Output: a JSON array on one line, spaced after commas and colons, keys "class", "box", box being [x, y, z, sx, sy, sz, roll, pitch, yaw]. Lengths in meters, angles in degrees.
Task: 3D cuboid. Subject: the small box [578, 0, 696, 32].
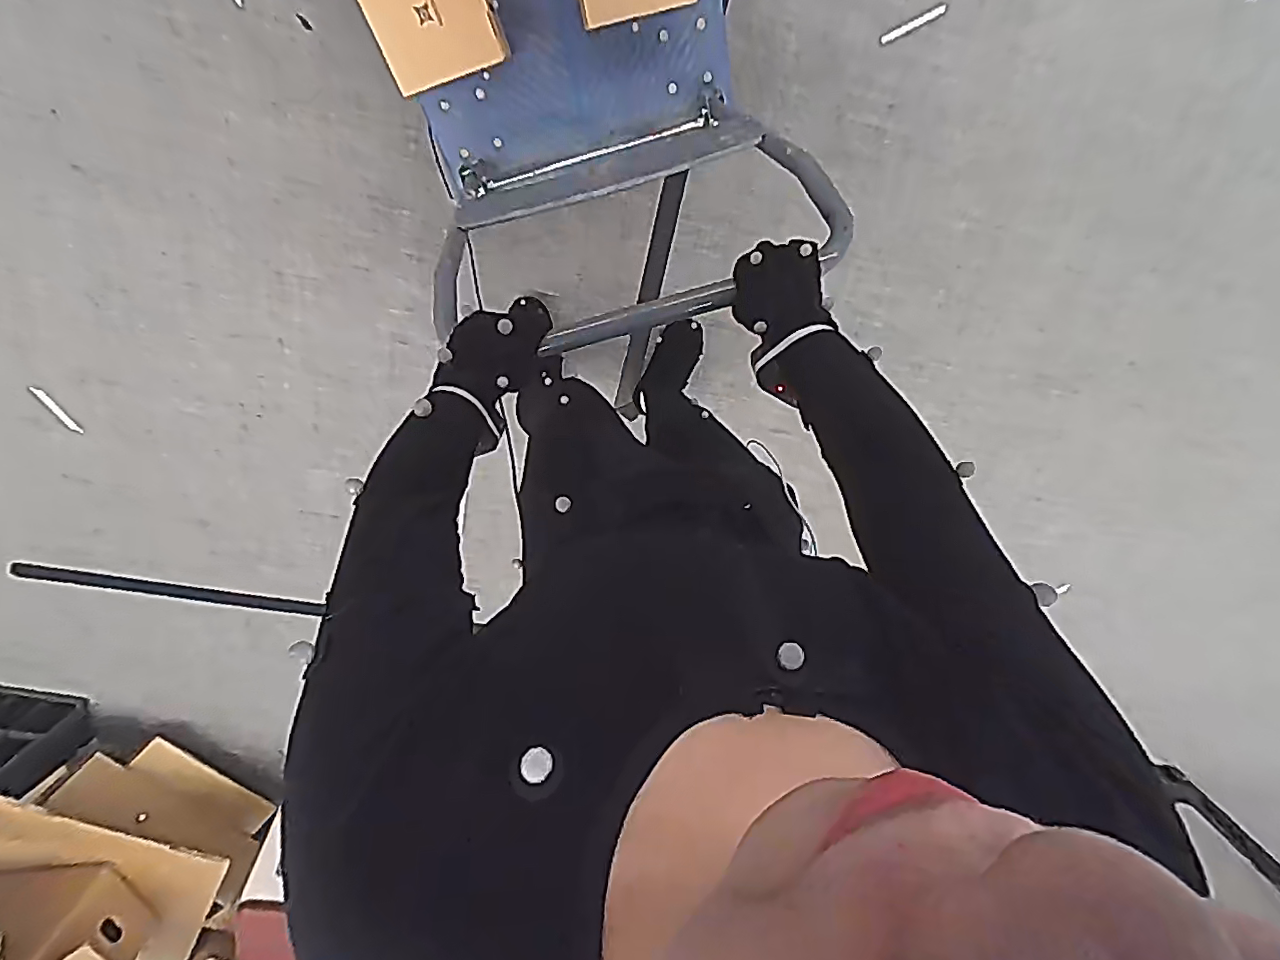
[{"class": "small box", "box": [-0.020, -0.818, 0.841, 0.179, 0.176, 0.168, -12, 130, 2]}]

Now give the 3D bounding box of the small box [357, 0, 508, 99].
[{"class": "small box", "box": [-0.326, -0.736, 0.864, 0.179, 0.176, 0.168, -18, 129, 4]}]
